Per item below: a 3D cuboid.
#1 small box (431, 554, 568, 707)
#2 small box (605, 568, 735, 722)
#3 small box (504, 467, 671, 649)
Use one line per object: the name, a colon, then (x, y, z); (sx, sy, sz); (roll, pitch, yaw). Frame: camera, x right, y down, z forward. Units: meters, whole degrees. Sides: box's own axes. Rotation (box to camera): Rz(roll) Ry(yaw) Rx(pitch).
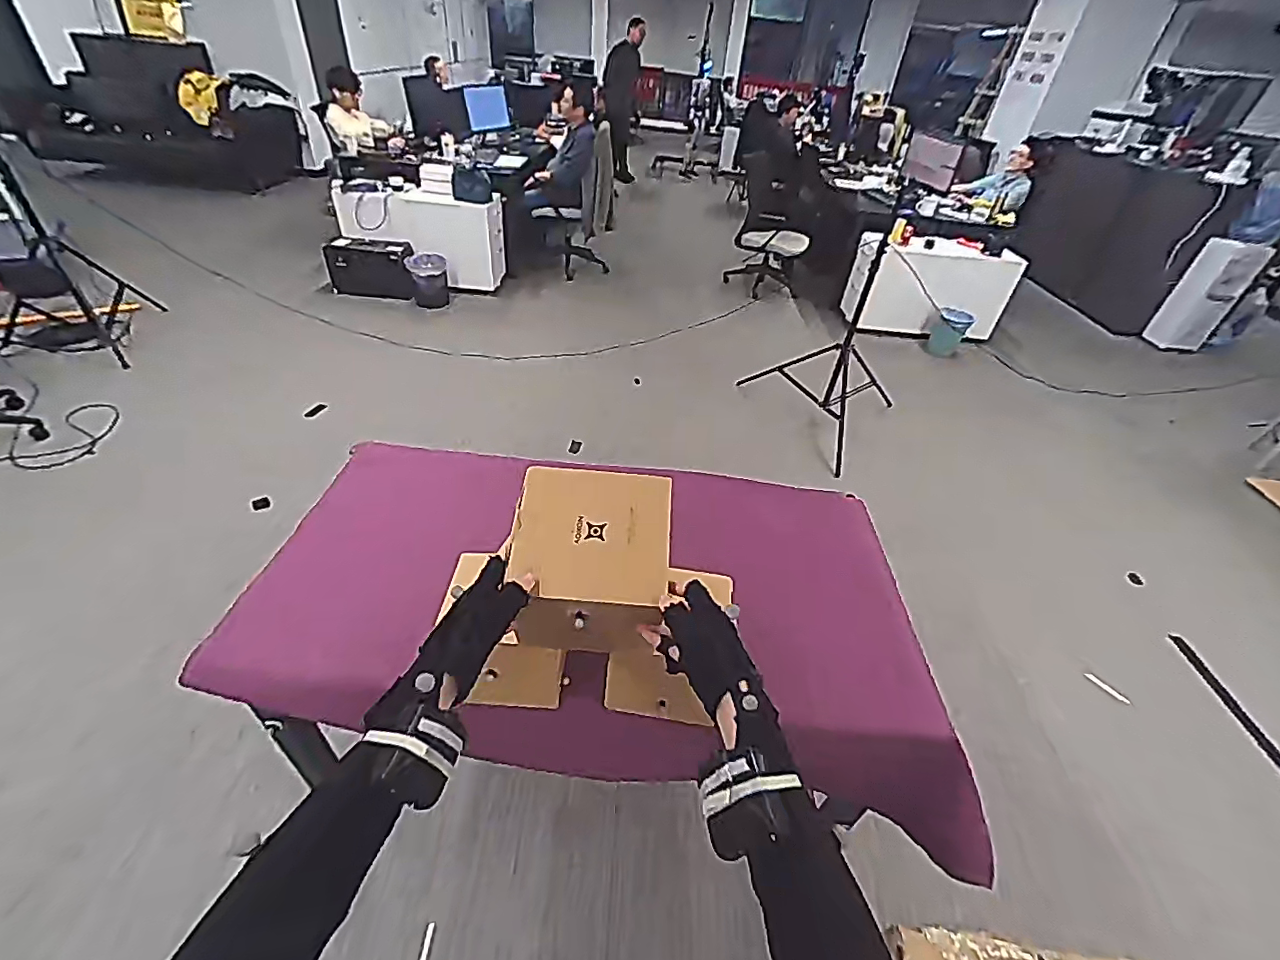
small box: (-0.203, 0.239, 0.853); (0.179, 0.176, 0.168); (4, 38, -1)
small box: (0.047, 0.260, 0.861); (0.179, 0.176, 0.168); (9, 38, 2)
small box: (-0.058, 0.102, 0.674); (0.179, 0.176, 0.168); (4, 54, -2)
